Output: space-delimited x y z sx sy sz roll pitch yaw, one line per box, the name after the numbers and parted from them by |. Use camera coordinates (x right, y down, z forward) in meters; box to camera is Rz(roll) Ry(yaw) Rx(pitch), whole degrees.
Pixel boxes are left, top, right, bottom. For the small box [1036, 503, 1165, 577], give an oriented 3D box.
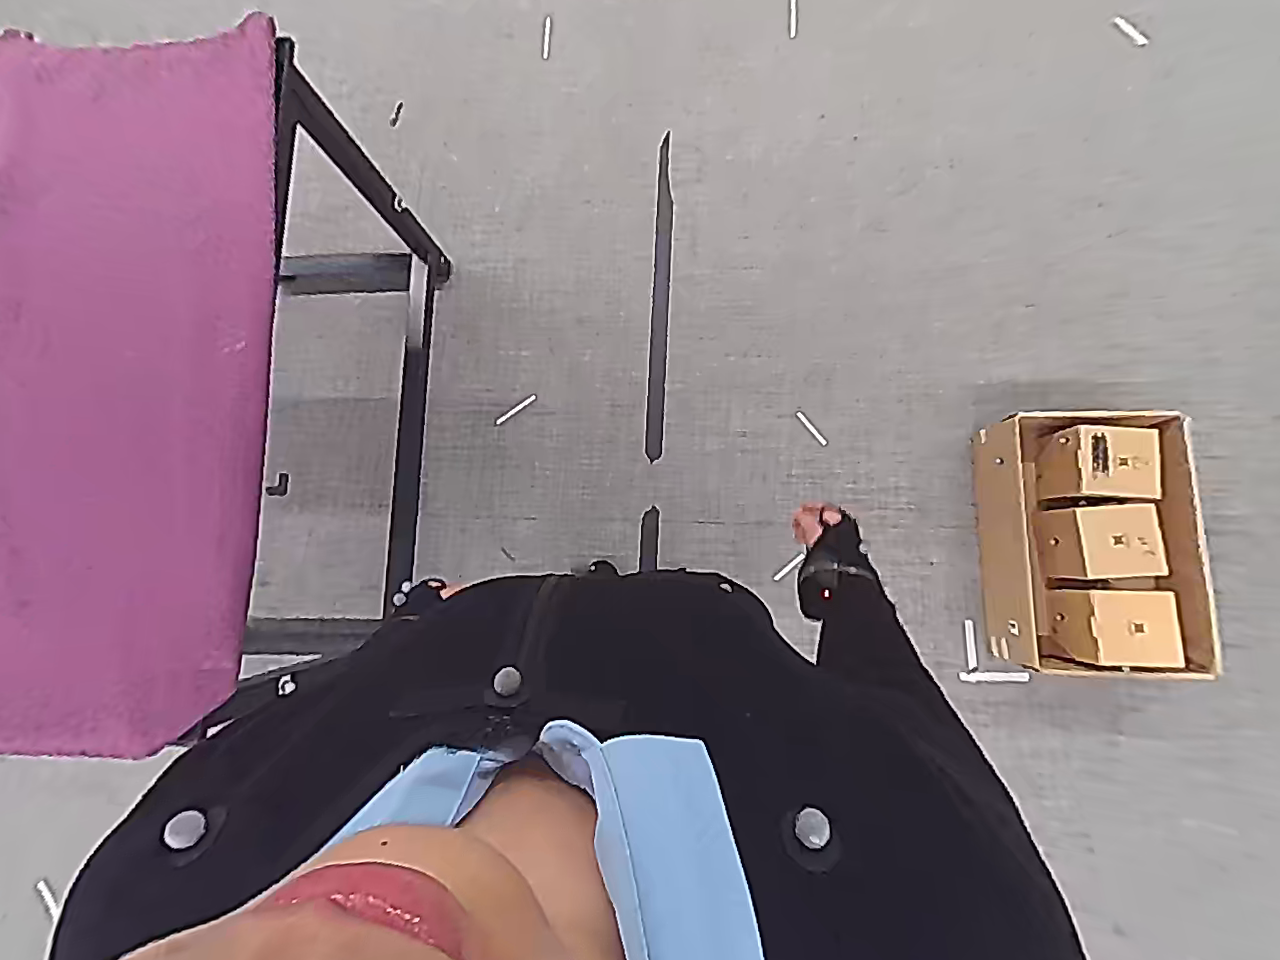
1.103 0.149 1.317 0.179 0.176 0.168 -4 82 4 | small box

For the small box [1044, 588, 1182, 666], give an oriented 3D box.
1.114 0.343 1.286 0.179 0.176 0.168 -1 79 5 | small box
